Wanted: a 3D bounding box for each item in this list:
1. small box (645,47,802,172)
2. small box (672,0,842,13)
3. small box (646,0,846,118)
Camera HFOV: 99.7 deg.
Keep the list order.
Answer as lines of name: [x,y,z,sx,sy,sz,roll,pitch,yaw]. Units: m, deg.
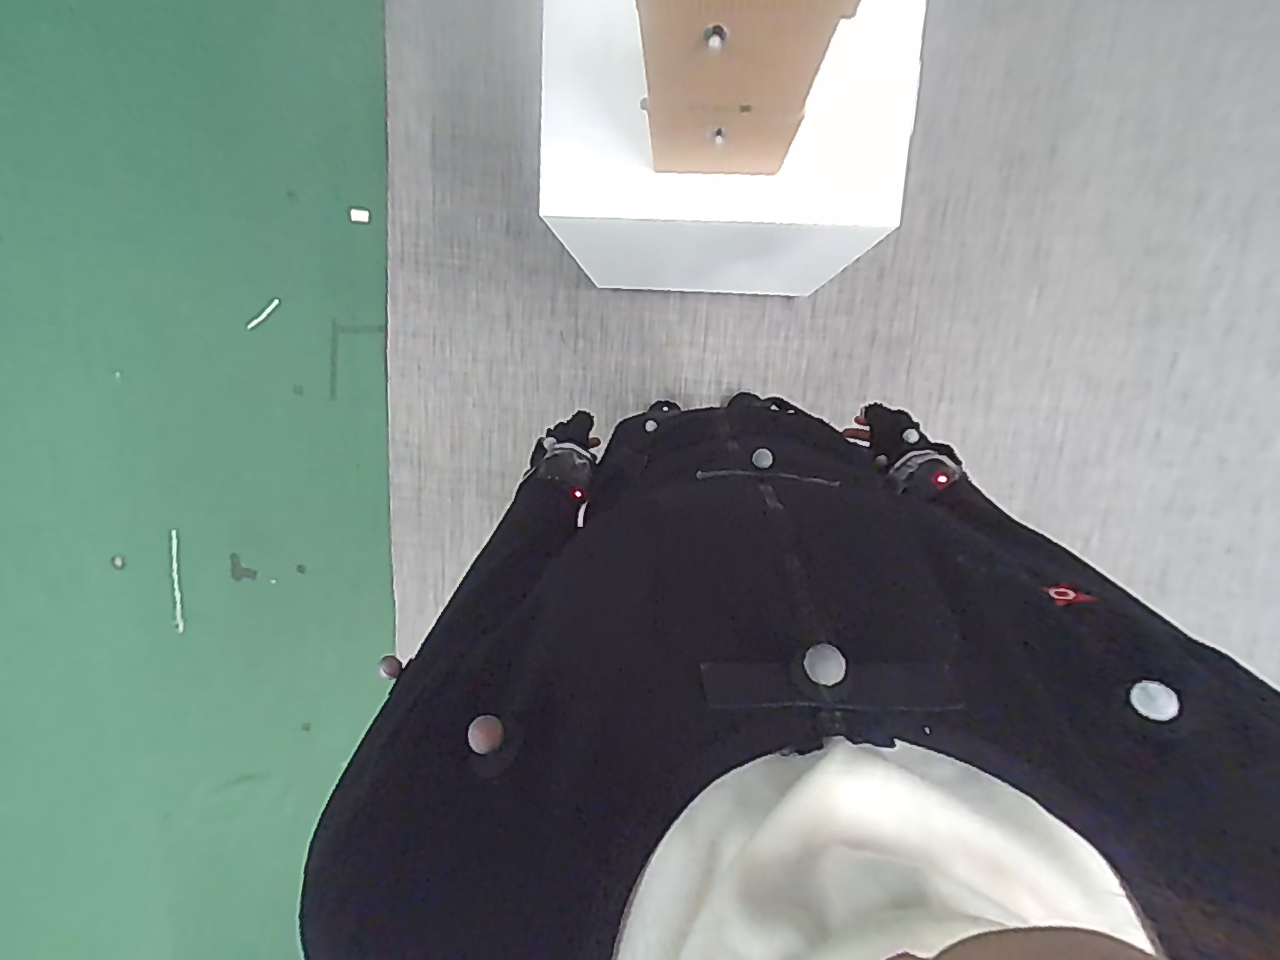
small box: [0.103,-0.501,0.667,0.179,0.176,0.168,4,100,3]
small box: [0.082,-0.445,0.345,0.179,0.176,0.168,6,100,3]
small box: [0.093,-0.478,0.508,0.168,0.176,0.179,2,100,3]
